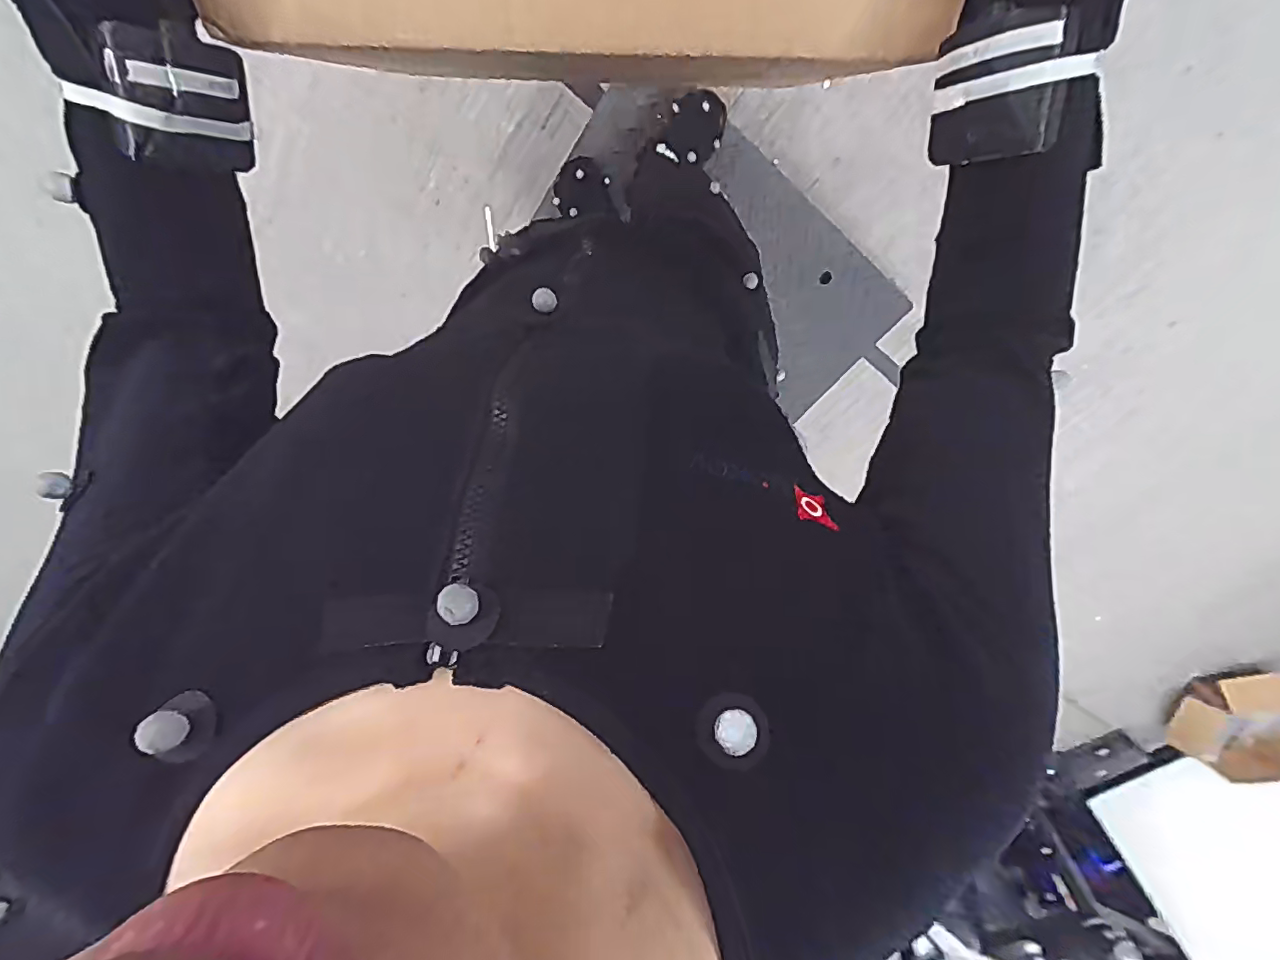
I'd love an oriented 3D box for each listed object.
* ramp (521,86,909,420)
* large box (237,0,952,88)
[{"bbox_3d":[0.246,-0.543,1.417,0.991,0.206,0.509,29,118,-20],"label":"ramp"},{"bbox_3d":[-0.026,-0.456,0.353,0.408,0.320,0.320,0,124,-2],"label":"large box"}]
